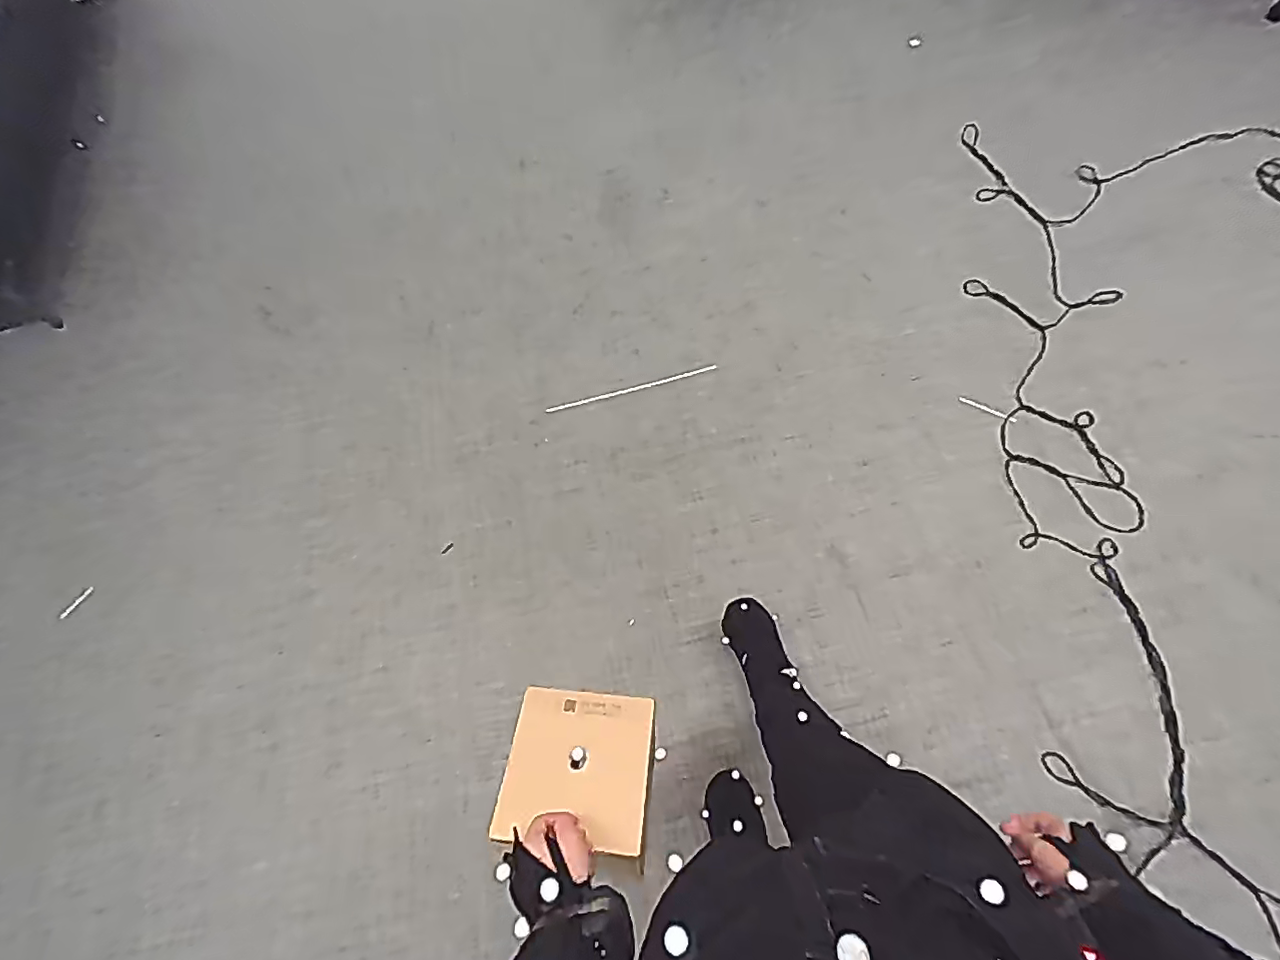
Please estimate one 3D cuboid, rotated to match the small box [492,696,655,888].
[{"bbox_3d":[-0.070,0.390,0.683,0.168,0.179,0.176,2,45,5],"label":"small box"}]
